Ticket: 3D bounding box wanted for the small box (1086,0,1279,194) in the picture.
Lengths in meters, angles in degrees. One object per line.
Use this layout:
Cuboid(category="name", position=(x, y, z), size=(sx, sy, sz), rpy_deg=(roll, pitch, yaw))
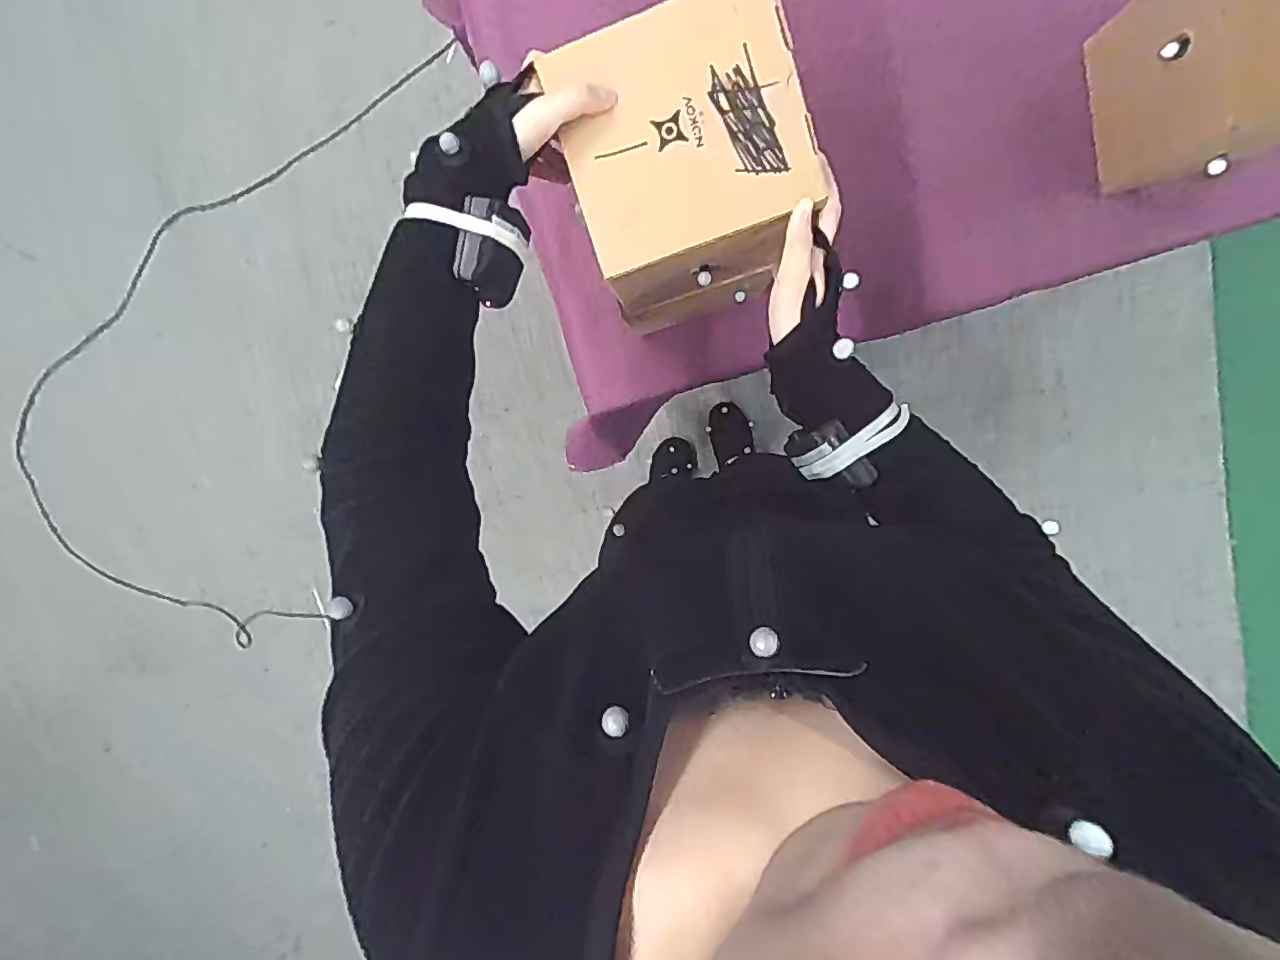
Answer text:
Cuboid(category="small box", position=(0.602, -0.429, 0.552), size=(0.168, 0.176, 0.179), rpy_deg=(-12, 98, 8))
